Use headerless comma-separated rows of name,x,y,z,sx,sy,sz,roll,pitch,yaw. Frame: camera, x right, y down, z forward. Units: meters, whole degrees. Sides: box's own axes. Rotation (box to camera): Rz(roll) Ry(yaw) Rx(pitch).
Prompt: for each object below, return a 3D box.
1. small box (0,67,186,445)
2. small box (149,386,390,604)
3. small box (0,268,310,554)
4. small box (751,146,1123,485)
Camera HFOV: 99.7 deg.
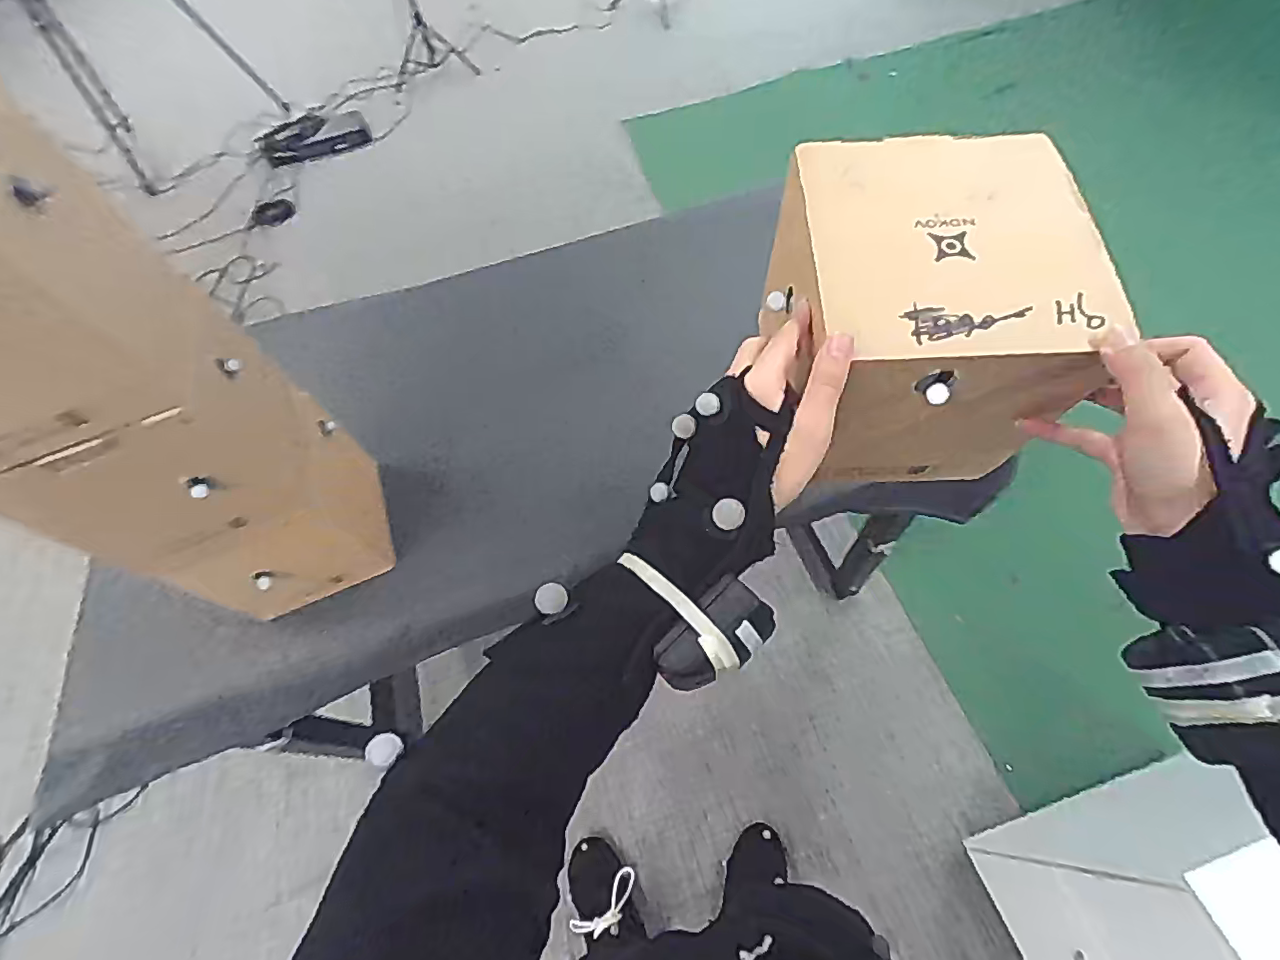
small box,-0.445,-0.138,0.355,0.168,0.176,0.179,-23,59,-10
small box,-0.418,0.028,0.635,0.168,0.176,0.179,-22,59,-8
small box,-0.432,-0.052,0.495,0.168,0.176,0.179,-22,58,-9
small box,0.180,-0.109,0.399,0.168,0.176,0.179,-1,65,2
